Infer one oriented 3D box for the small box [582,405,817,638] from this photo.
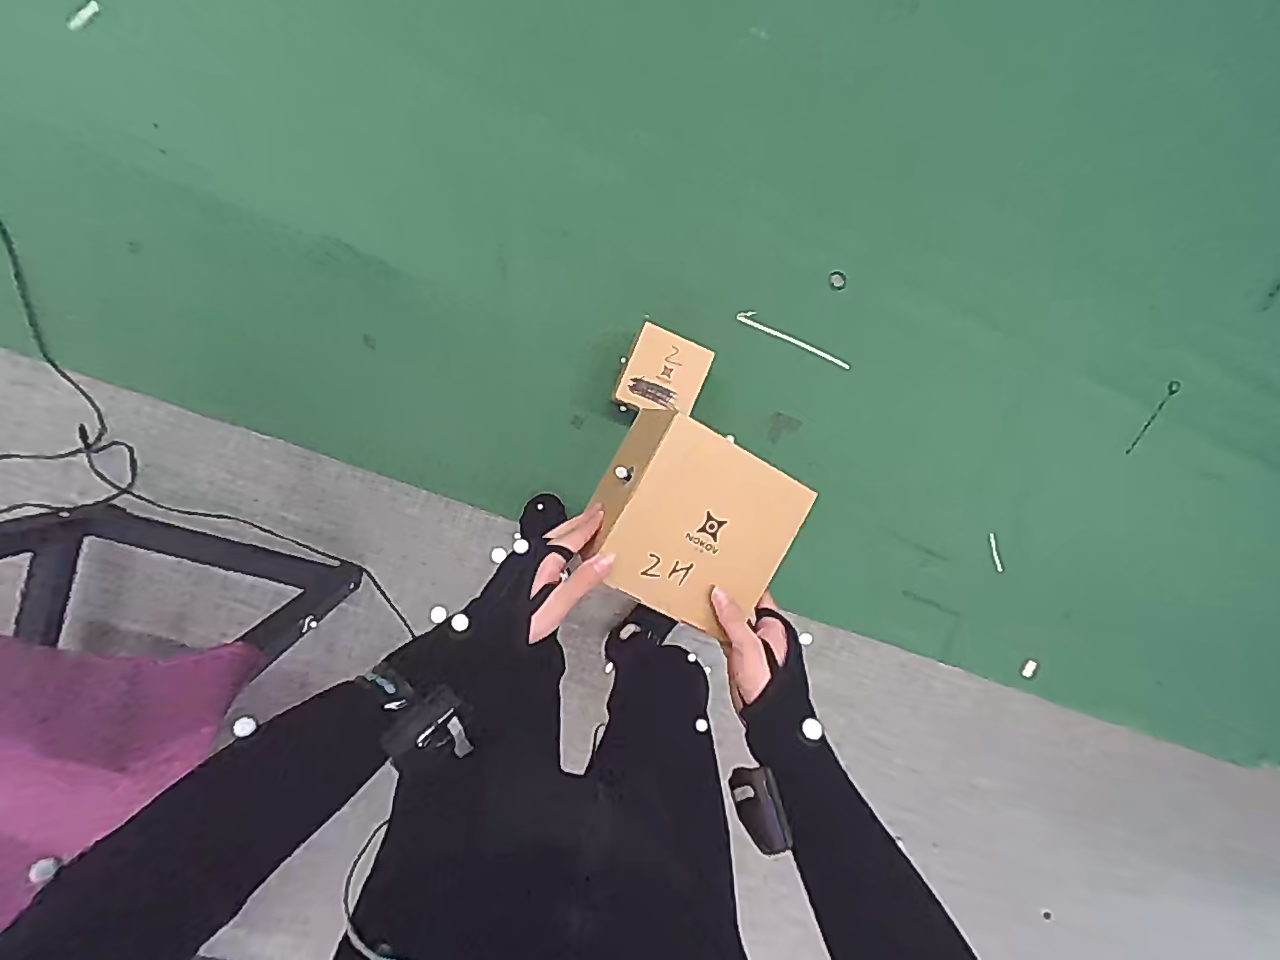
[{"bbox_3d":[0.048,0.032,0.586,0.168,0.176,0.179,29,92,-14],"label":"small box"}]
